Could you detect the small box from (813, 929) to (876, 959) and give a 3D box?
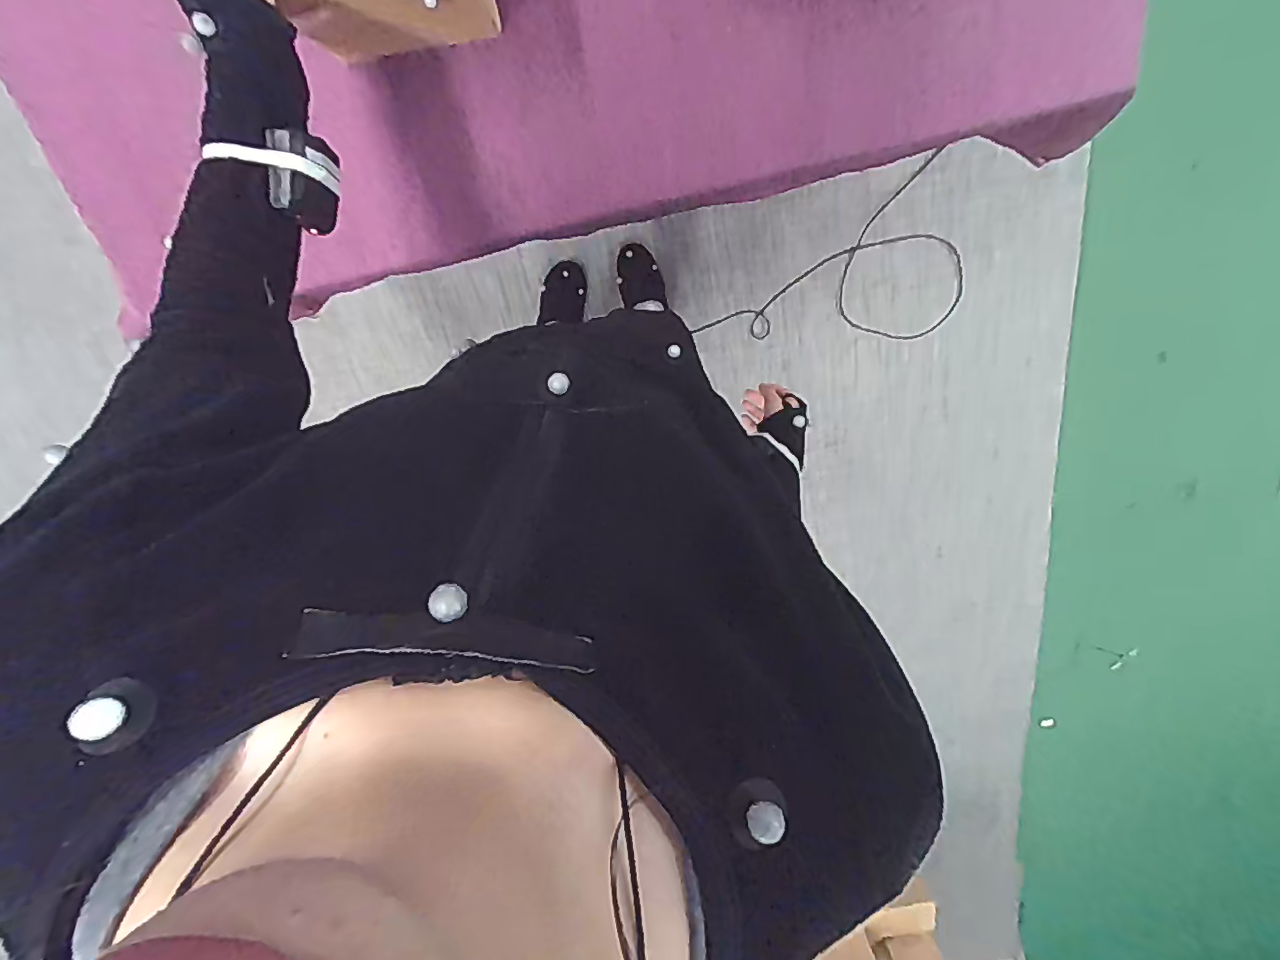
[{"bbox_3d":[0.684,1.614,1.766,0.179,0.176,0.168,-10,112,-1],"label":"small box"}]

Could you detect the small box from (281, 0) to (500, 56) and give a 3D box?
[{"bbox_3d":[-0.235,-0.497,0.462,0.179,0.176,0.168,-11,114,-1],"label":"small box"}]
